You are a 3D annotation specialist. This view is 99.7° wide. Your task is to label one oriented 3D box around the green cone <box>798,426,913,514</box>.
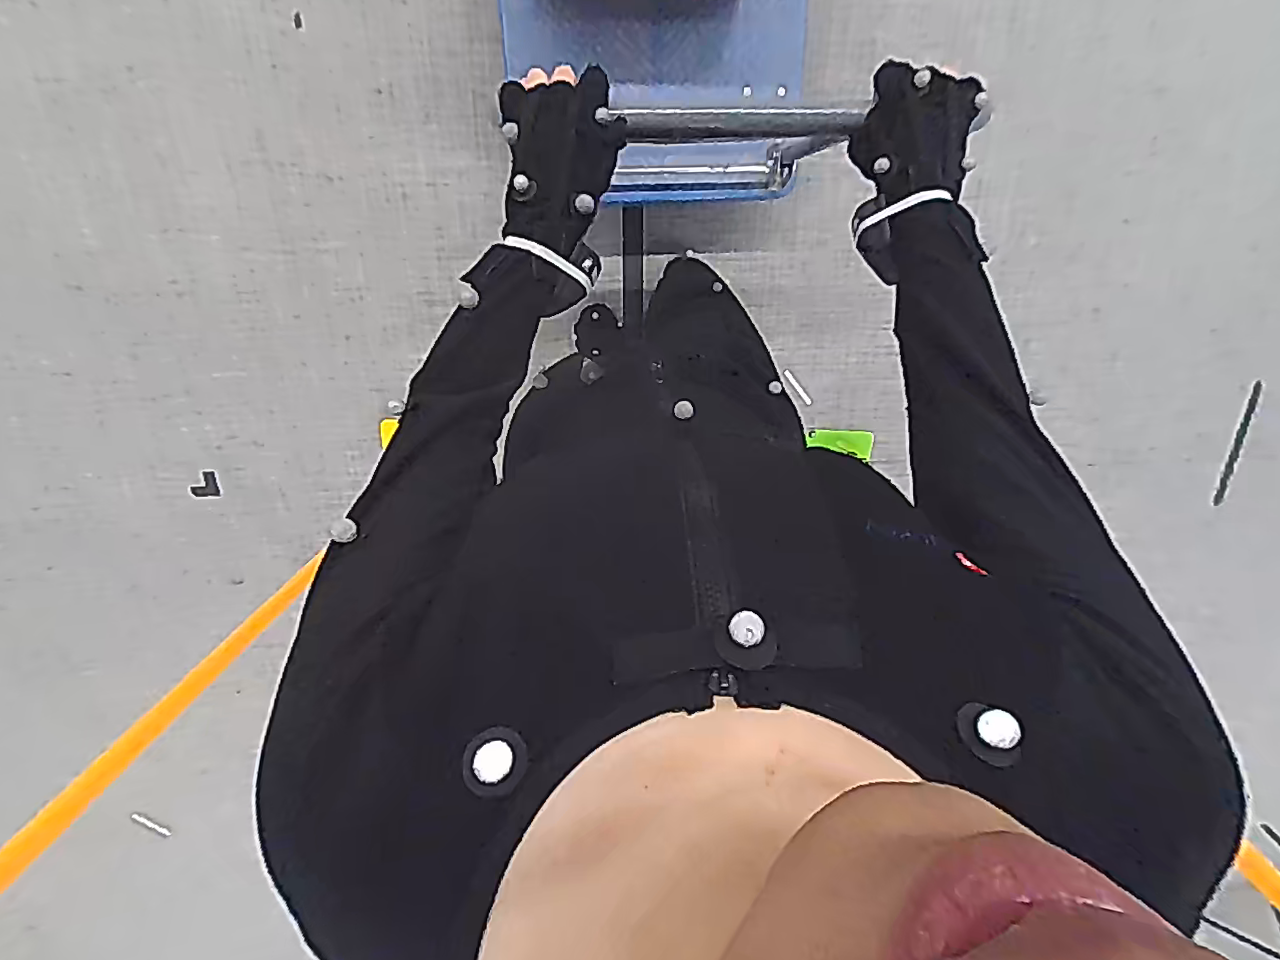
[{"bbox_3d":[0.573,0.002,1.384,0.202,0.368,0.200,1,110,-7],"label":"green cone"}]
